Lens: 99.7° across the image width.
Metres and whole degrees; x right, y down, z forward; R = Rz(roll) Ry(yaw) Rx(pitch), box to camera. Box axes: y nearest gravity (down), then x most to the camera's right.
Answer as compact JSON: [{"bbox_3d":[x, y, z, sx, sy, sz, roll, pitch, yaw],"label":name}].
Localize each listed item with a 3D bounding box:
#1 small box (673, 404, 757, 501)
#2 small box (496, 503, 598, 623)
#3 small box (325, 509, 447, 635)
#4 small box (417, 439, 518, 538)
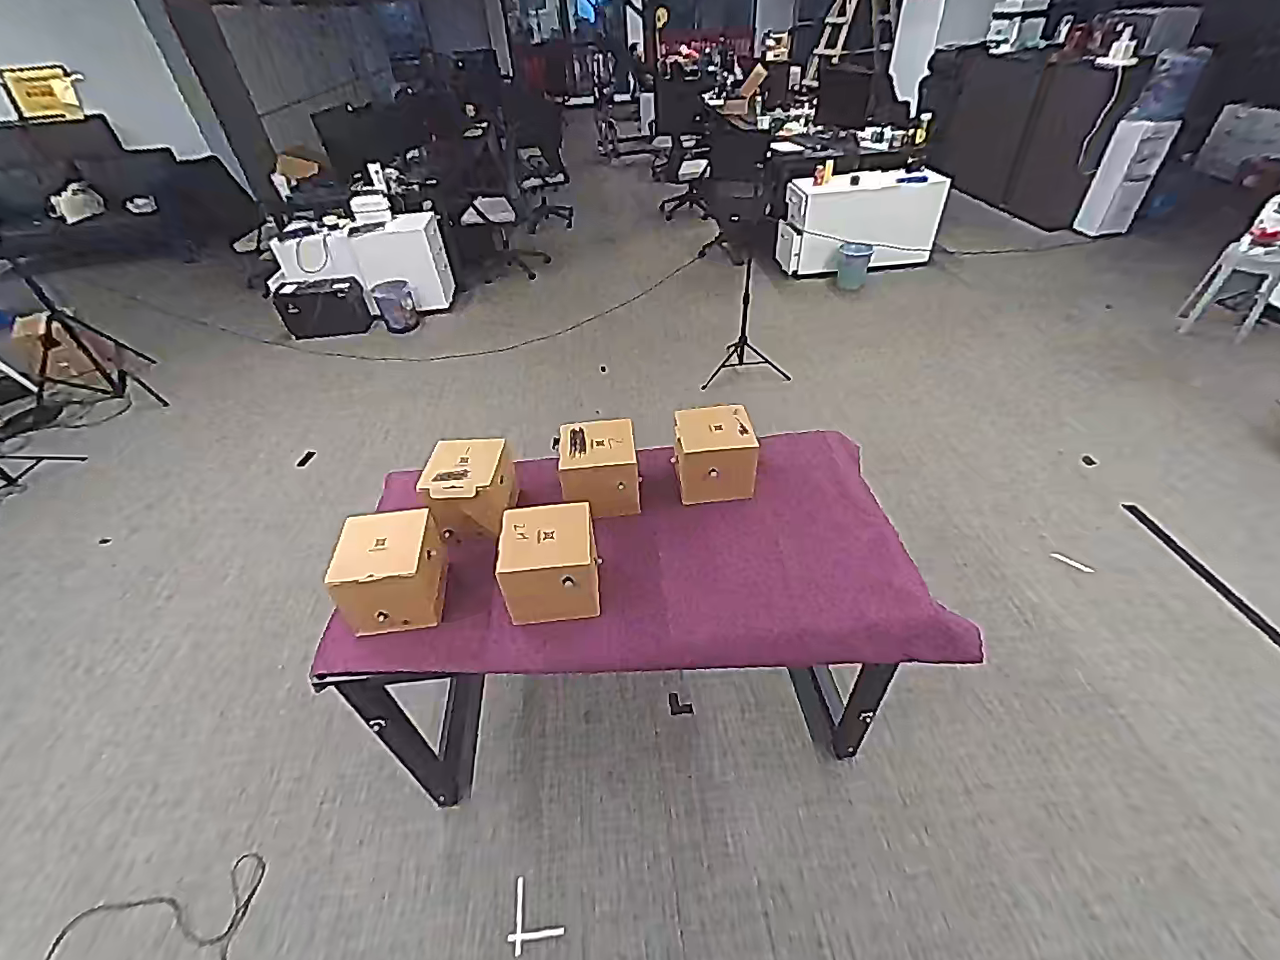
[{"bbox_3d":[0.178,-0.063,1.316,0.179,0.176,0.168,-6,44,-1],"label":"small box"},{"bbox_3d":[-0.177,0.168,1.087,0.179,0.176,0.168,-6,41,-1],"label":"small box"},{"bbox_3d":[-0.499,0.185,1.093,0.168,0.176,0.179,-7,42,-6],"label":"small box"},{"bbox_3d":[-0.393,0.023,1.270,0.168,0.176,0.179,-1,42,2],"label":"small box"}]
